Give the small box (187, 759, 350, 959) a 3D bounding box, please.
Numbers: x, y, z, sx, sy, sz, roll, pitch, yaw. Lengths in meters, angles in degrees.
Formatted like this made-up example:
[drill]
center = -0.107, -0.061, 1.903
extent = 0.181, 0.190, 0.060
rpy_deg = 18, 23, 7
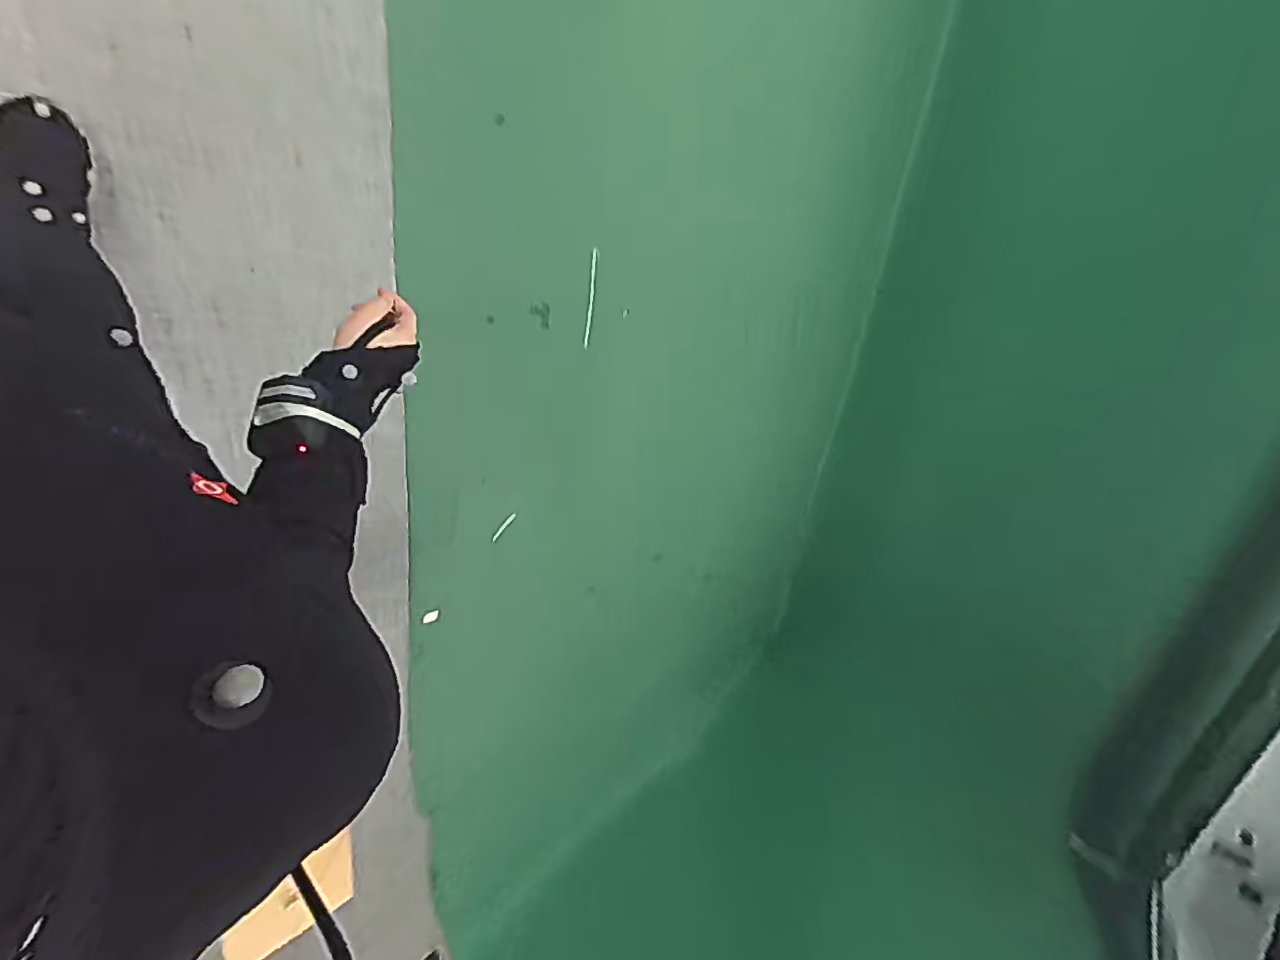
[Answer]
[small box]
center = -0.568, 0.581, 0.834
extent = 0.168, 0.176, 0.179
rpy_deg = -15, 120, -46
